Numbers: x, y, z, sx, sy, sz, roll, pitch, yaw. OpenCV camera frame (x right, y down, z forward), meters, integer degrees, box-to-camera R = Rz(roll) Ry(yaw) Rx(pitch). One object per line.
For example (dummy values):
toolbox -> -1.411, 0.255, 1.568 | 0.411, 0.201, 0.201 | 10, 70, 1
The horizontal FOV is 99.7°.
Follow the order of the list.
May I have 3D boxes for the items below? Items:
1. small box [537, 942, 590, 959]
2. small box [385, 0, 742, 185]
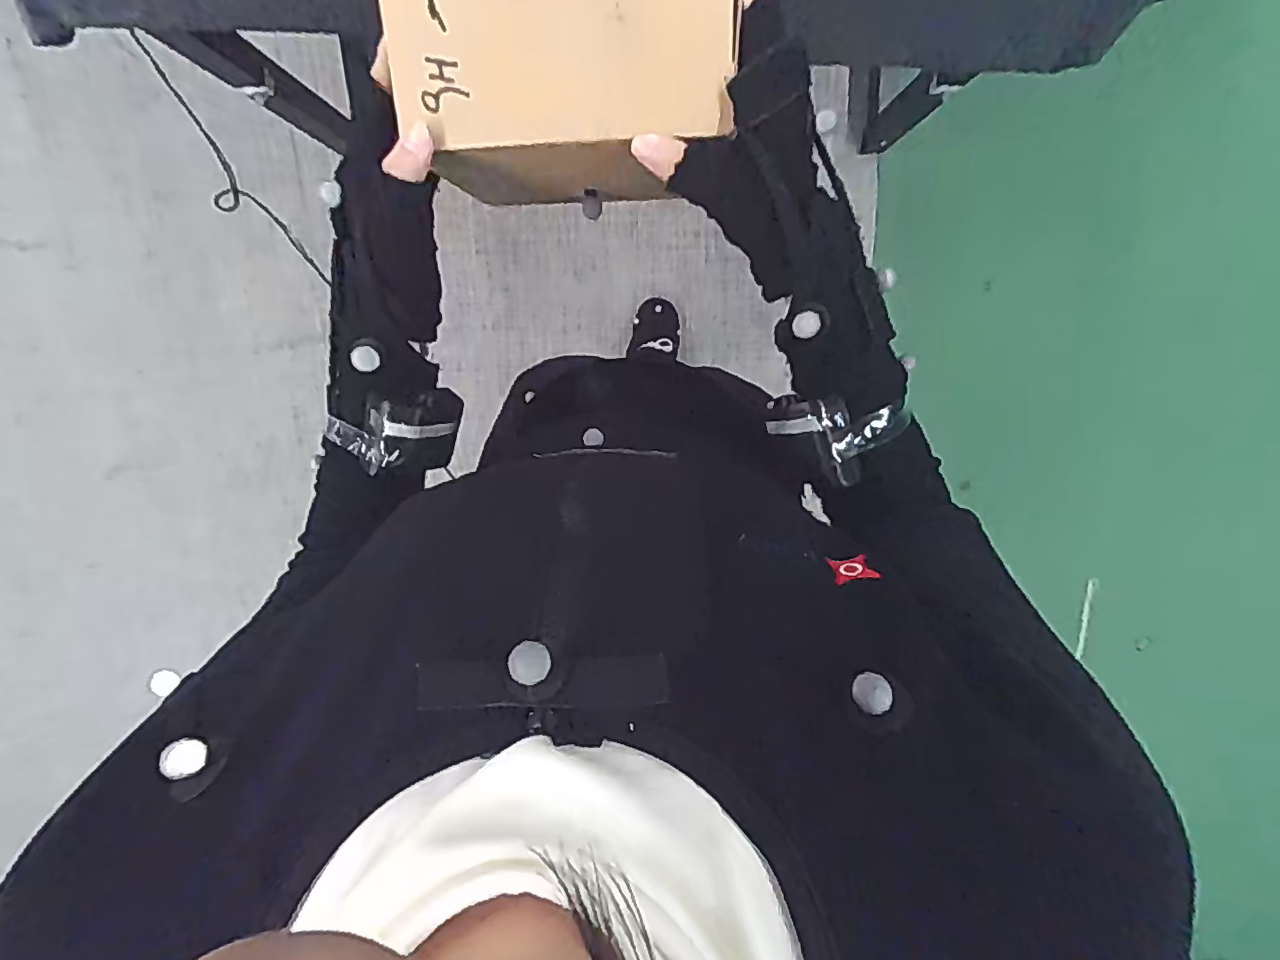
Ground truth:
small box -> -0.257, 1.668, 1.776 | 0.179, 0.176, 0.168 | -1, 105, -1
small box -> -0.041, -0.289, 0.329 | 0.179, 0.176, 0.168 | -3, 107, 0
